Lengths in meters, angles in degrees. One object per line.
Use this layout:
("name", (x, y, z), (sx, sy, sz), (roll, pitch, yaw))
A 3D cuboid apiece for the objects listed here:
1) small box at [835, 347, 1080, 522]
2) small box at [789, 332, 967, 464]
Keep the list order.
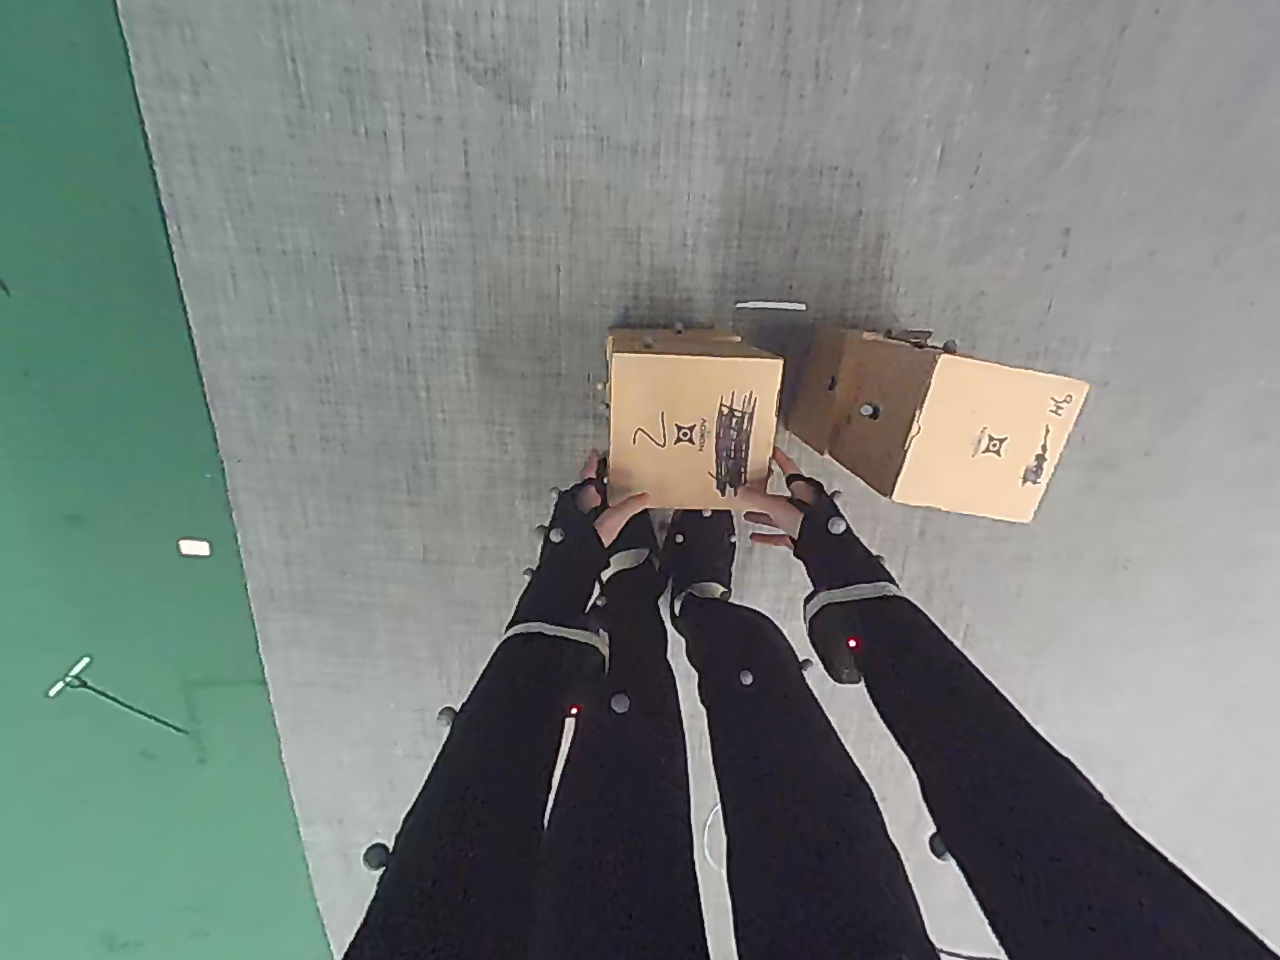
("small box", (0.365, -0.065, 0.664), (0.179, 0.176, 0.168), (9, 108, -5))
("small box", (0.343, -0.121, 0.818), (0.168, 0.176, 0.179), (9, 108, -6))
